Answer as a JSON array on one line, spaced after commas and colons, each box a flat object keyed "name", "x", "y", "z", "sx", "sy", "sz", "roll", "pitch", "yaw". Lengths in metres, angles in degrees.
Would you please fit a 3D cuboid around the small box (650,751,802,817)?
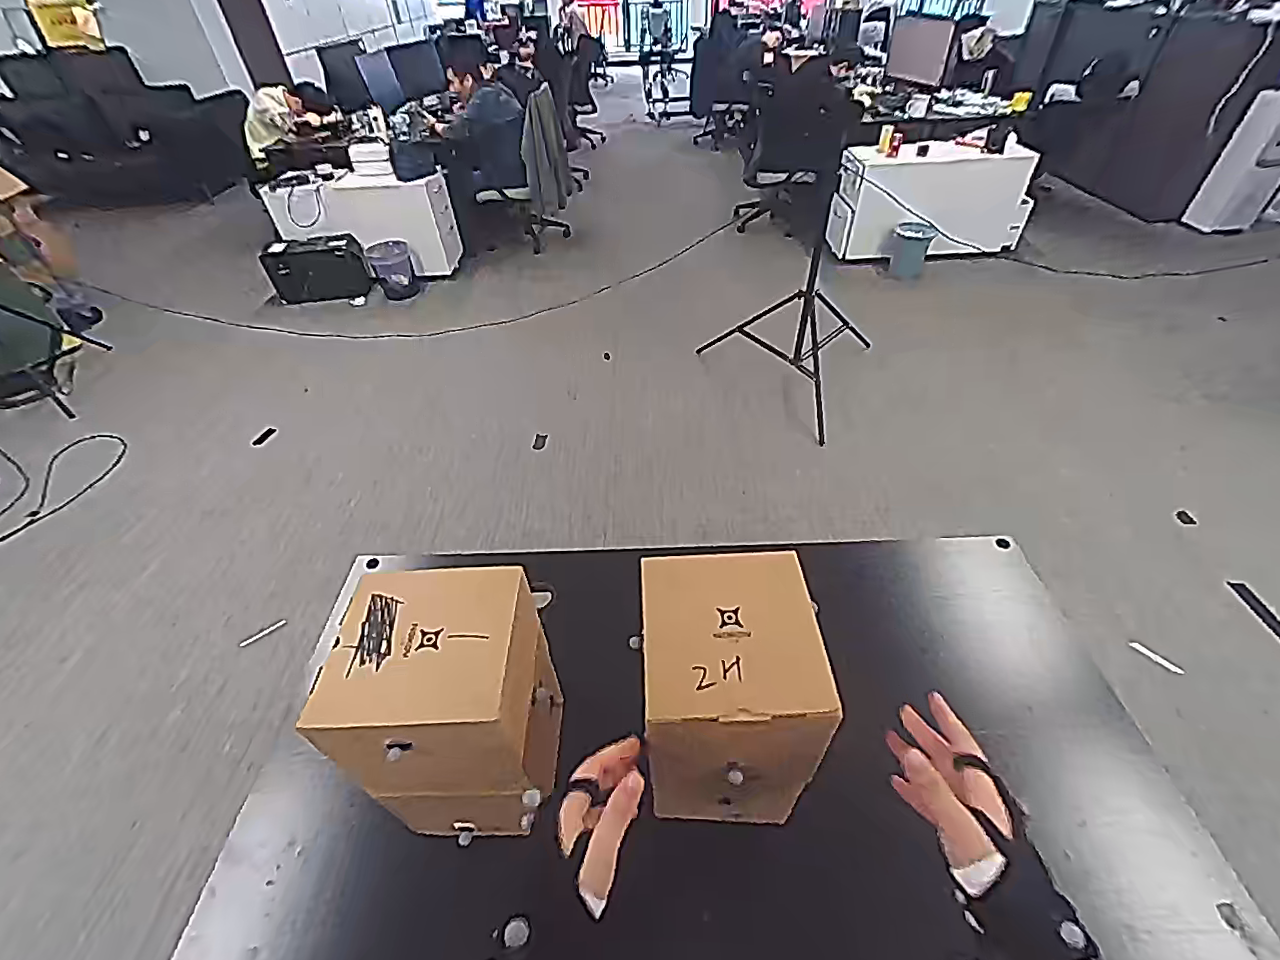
[{"name": "small box", "x": 0.103, "y": 0.310, "z": 0.689, "sx": 0.168, "sy": 0.176, "sz": 0.179, "roll": 0, "pitch": 44, "yaw": 4}]

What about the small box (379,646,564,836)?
[{"name": "small box", "x": -0.195, "y": 0.329, "z": 0.688, "sx": 0.168, "sy": 0.176, "sz": 0.179, "roll": -3, "pitch": 44, "yaw": 2}]

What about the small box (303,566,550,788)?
[{"name": "small box", "x": -0.202, "y": 0.211, "z": 0.573, "sx": 0.179, "sy": 0.176, "sz": 0.168, "roll": -3, "pitch": 43, "yaw": 1}]

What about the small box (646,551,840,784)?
[{"name": "small box", "x": 0.089, "y": 0.196, "z": 0.569, "sx": 0.168, "sy": 0.176, "sz": 0.179, "roll": -3, "pitch": 43, "yaw": 1}]
